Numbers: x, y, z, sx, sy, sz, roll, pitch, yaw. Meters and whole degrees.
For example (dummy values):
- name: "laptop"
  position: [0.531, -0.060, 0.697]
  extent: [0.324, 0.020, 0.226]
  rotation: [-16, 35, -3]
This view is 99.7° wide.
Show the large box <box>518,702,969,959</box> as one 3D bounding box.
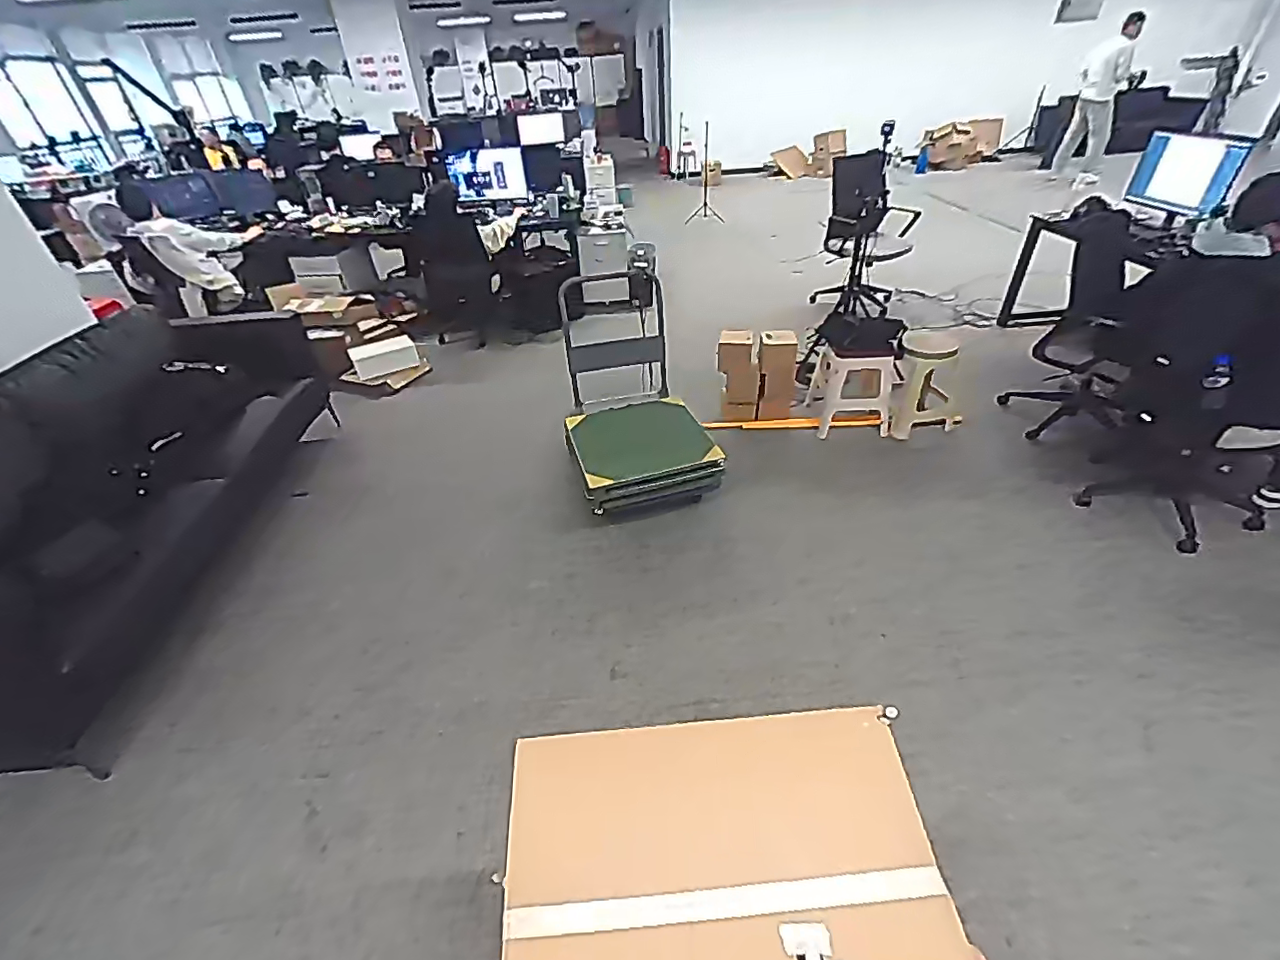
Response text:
- name: "large box"
  position: [0.089, 0.482, 0.619]
  extent: [0.408, 0.320, 0.320]
  rotation: [-6, 52, -2]
